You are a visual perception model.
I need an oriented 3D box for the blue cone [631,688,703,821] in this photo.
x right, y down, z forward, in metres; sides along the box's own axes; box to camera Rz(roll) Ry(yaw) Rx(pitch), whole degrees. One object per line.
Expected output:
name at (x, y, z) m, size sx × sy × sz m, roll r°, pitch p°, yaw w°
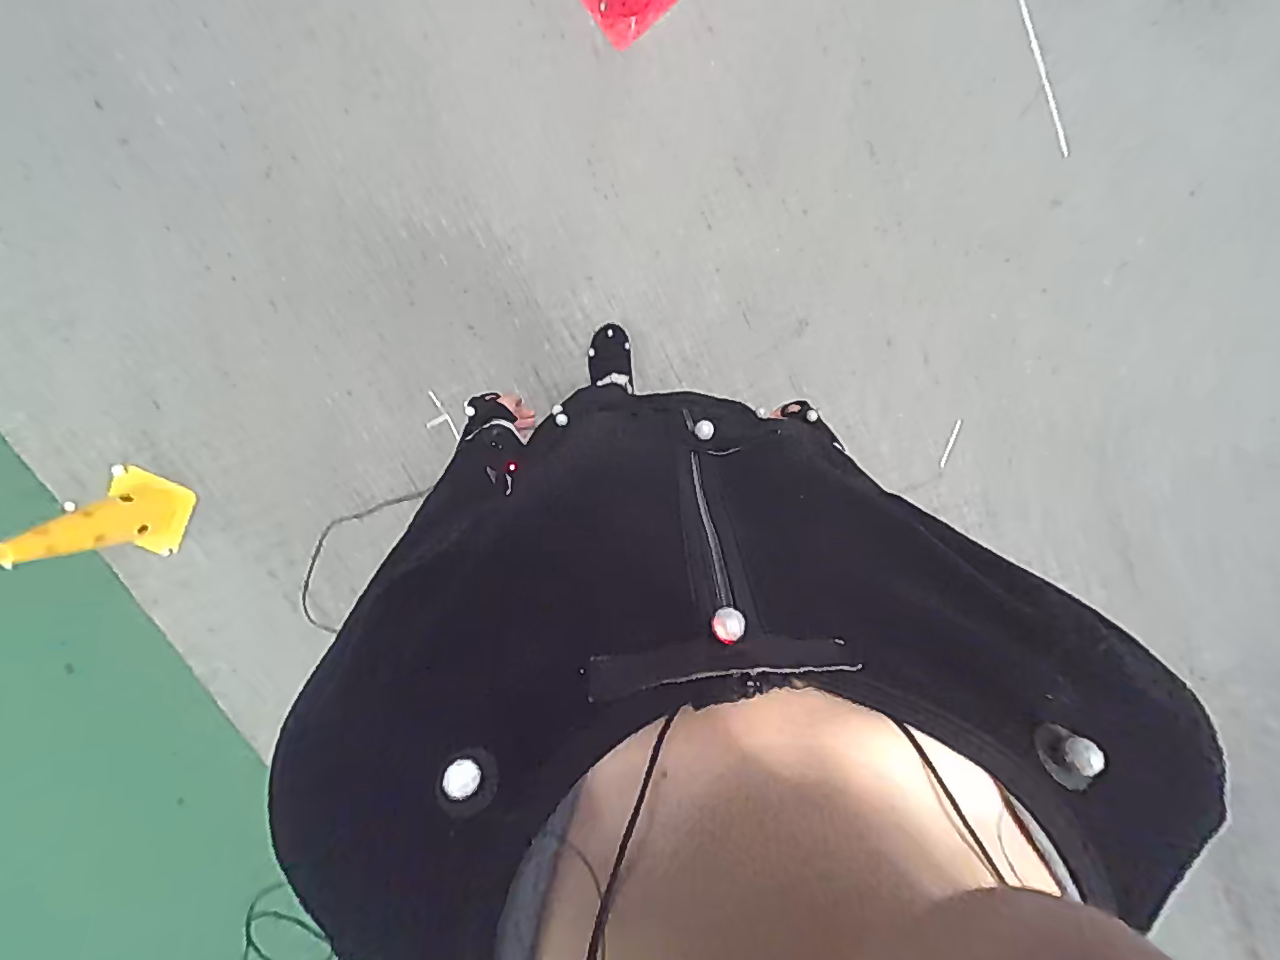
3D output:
blue cone at (0.098, 0.750, 1.462) m, size 0.193 × 0.380 × 0.192 m, roll 17°, pitch 99°, yaw -9°
